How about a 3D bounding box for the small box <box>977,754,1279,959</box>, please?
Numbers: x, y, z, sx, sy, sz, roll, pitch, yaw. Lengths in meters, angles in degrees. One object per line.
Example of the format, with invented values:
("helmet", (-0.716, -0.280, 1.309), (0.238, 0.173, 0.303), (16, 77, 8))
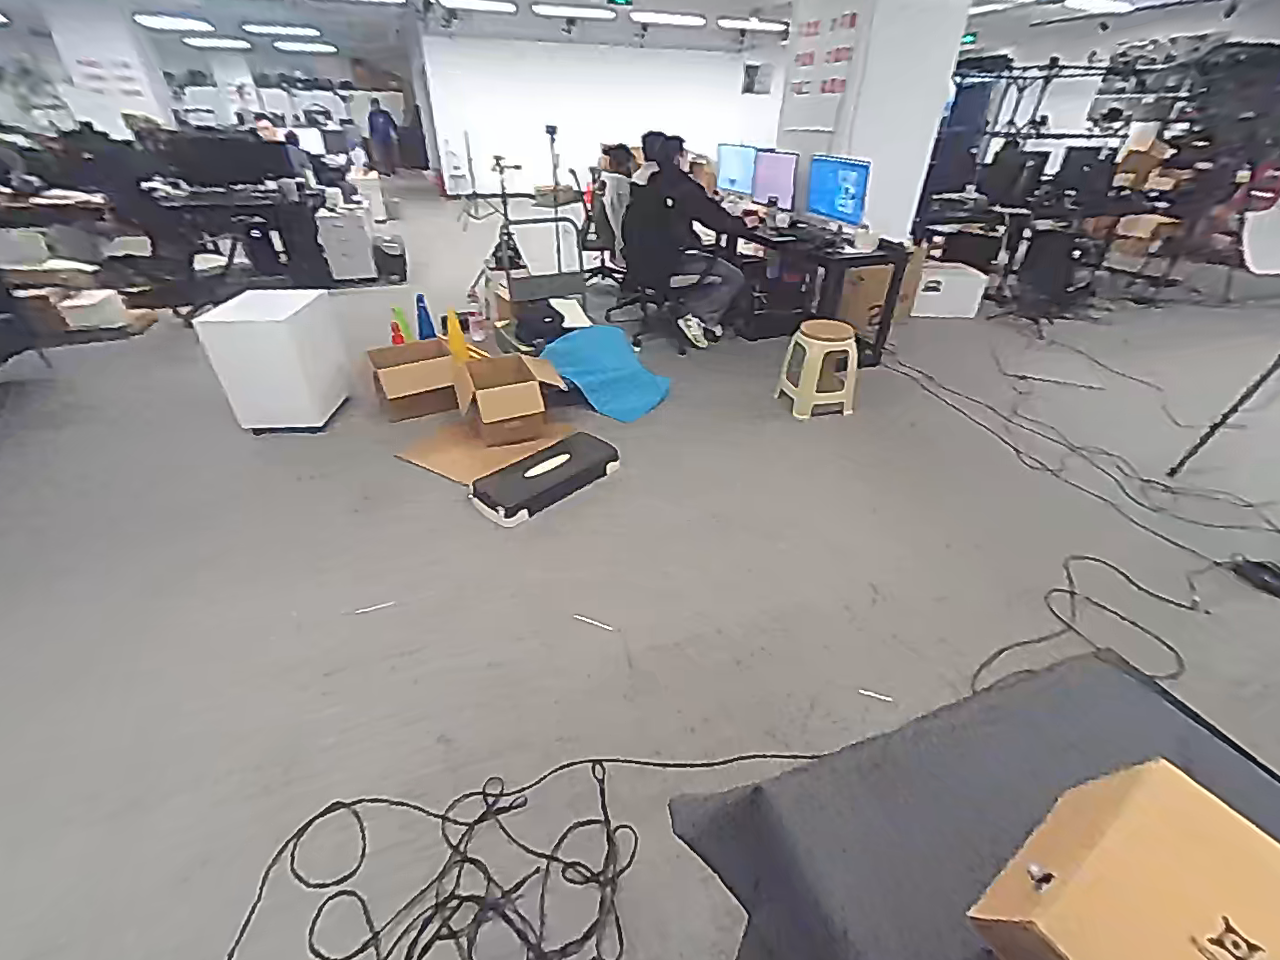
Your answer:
("small box", (0.405, 0.354, 0.421), (0.179, 0.176, 0.168), (-37, 54, -15))
